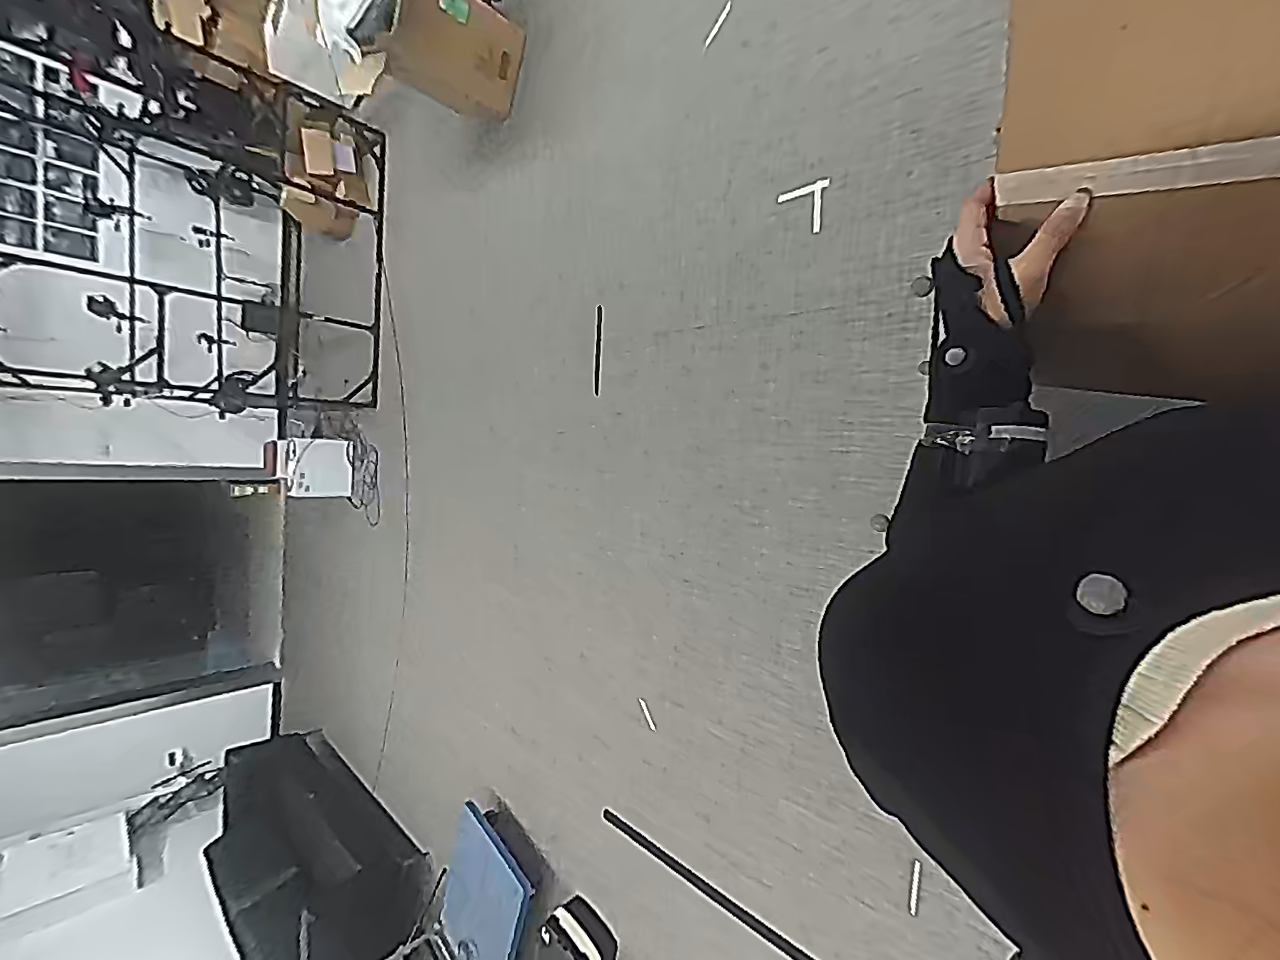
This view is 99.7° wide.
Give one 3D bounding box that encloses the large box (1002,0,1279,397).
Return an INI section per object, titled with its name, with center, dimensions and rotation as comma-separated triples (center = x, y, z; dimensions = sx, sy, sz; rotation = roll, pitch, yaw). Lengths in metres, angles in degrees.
[large box]
center = 0.493, -0.254, 0.316
dimensions = 0.408, 0.320, 0.320
rotation = 18, 141, 44
